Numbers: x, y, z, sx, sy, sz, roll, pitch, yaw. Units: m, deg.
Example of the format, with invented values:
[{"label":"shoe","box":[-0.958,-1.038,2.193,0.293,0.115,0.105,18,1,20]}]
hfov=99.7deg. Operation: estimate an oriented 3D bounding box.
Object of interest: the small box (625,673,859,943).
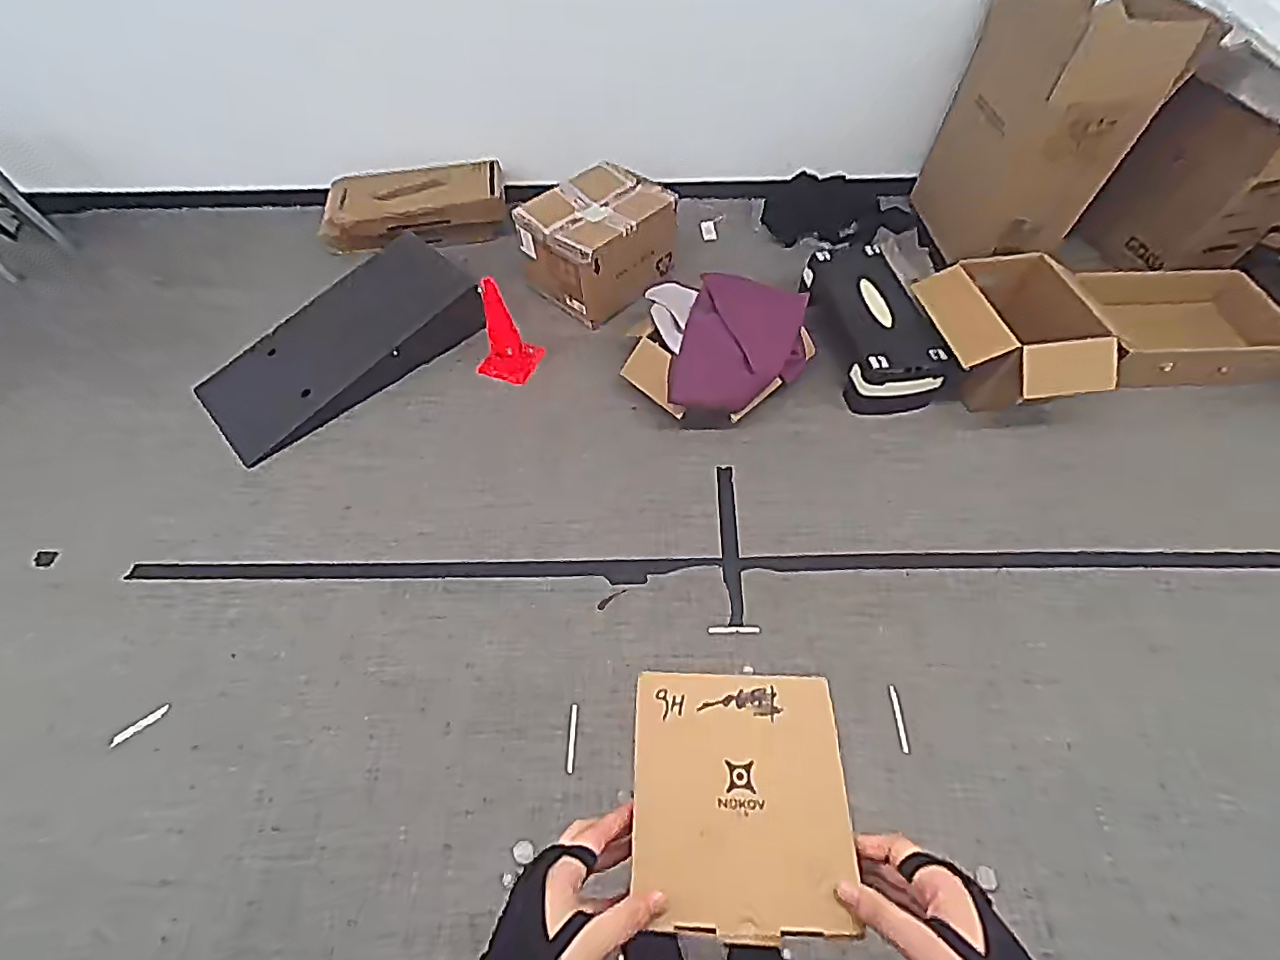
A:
[{"label":"small box","box":[0.076,0.285,0.487,0.168,0.176,0.179,1,57,1]}]
